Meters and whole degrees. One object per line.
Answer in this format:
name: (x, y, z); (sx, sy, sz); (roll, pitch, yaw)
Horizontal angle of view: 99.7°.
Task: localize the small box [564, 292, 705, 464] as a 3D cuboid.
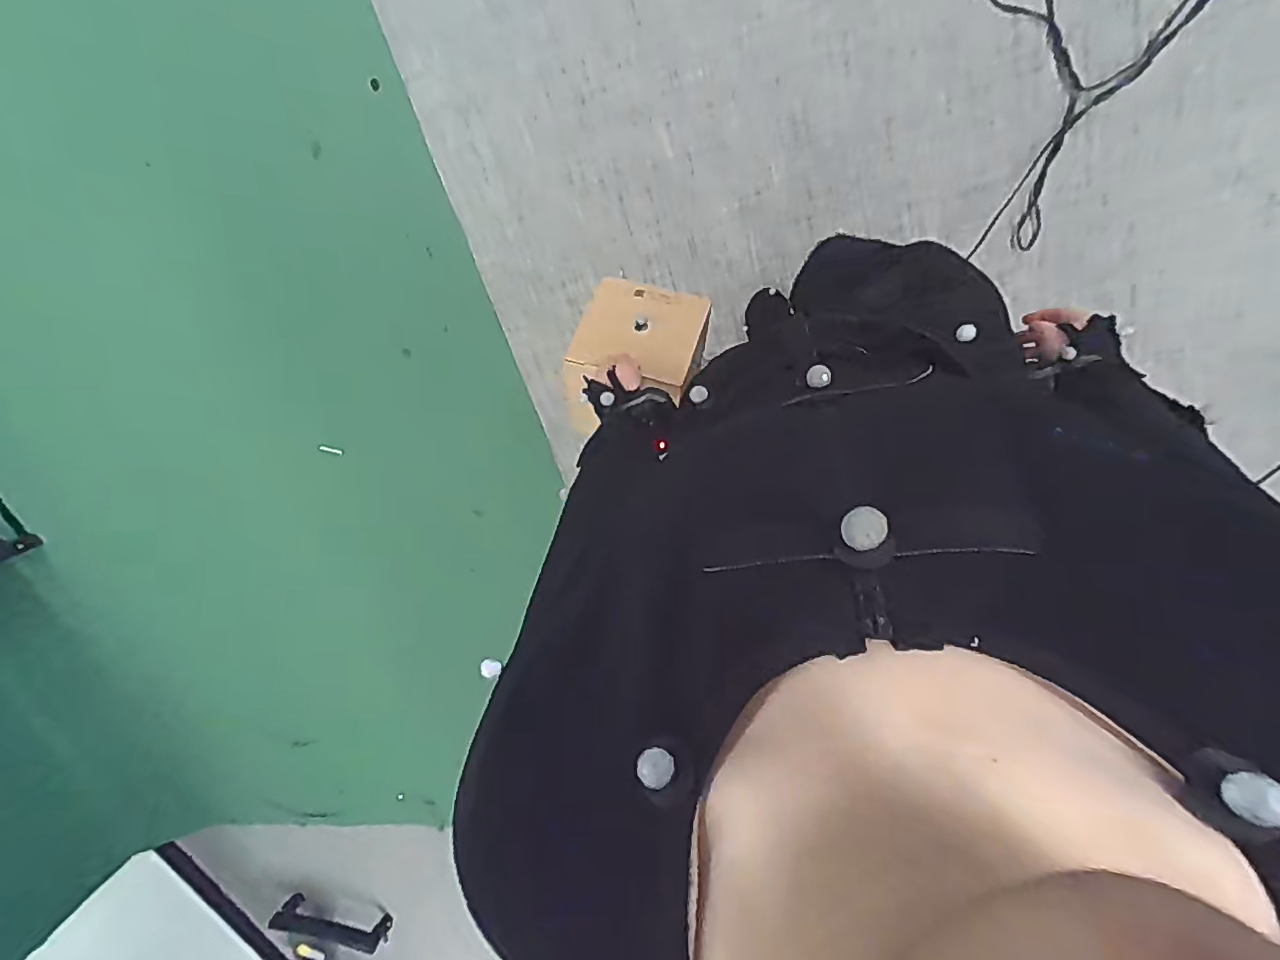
small box: (-0.004, -0.155, 0.820); (0.168, 0.176, 0.179); (15, 150, 8)
